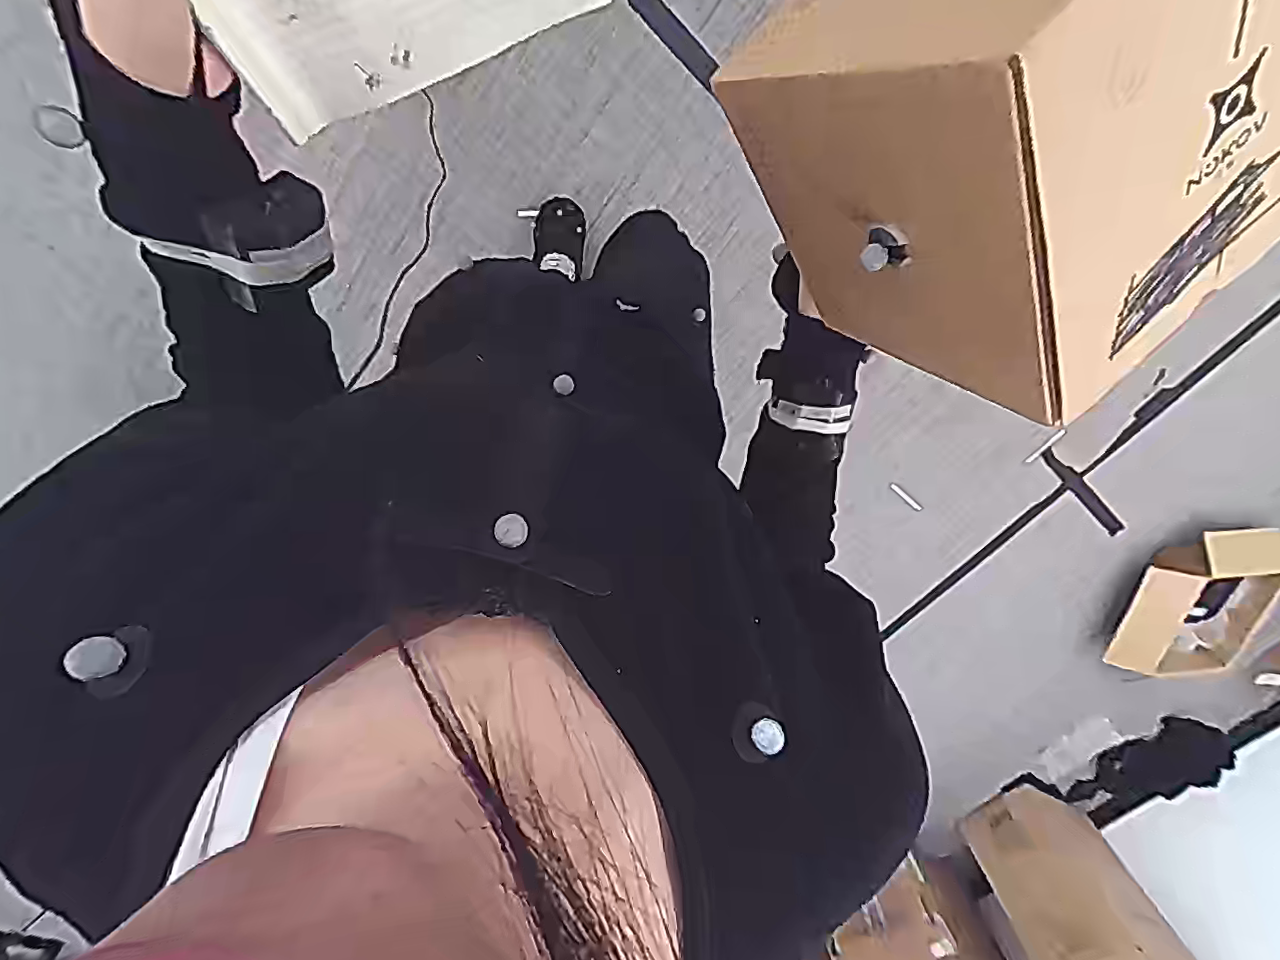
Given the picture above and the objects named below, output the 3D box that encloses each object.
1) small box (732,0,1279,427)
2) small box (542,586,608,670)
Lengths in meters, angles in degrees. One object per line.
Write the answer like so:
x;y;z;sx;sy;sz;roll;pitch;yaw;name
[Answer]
0.177;-0.163;0.254;0.168;0.176;0.179;-43;130;3;small box
-0.181;0.412;1.521;0.179;0.176;0.168;1;118;-4;small box
